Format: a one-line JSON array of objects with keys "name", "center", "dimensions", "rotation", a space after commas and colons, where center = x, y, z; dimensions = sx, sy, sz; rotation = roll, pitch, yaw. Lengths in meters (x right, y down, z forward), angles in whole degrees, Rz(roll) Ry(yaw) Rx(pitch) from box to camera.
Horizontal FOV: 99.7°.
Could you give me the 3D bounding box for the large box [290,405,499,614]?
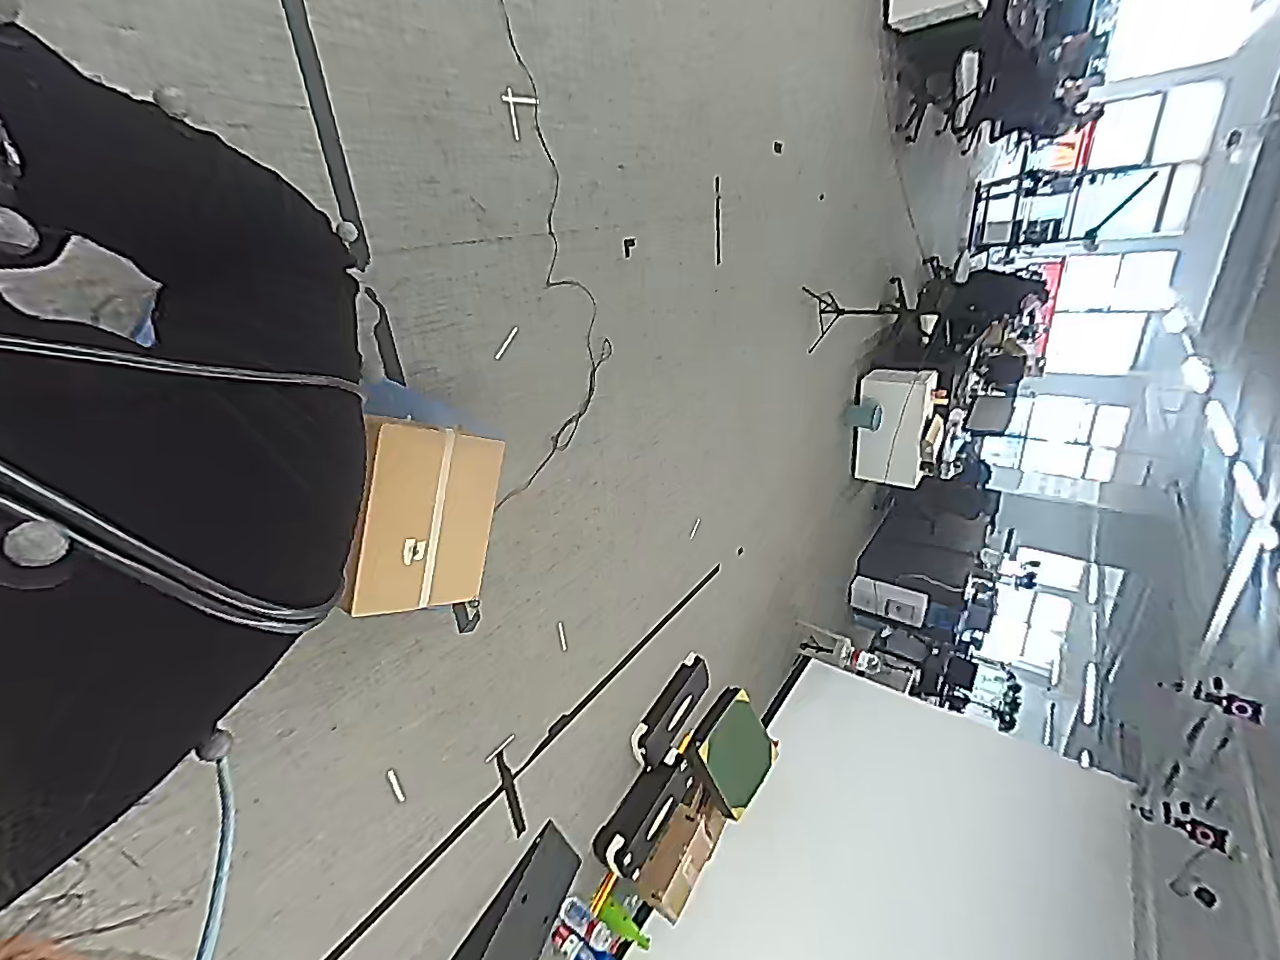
[{"name": "large box", "center": [-0.579, 0.055, 1.280], "dimensions": [0.320, 0.320, 0.408], "rotation": [6, 97, -53]}]
